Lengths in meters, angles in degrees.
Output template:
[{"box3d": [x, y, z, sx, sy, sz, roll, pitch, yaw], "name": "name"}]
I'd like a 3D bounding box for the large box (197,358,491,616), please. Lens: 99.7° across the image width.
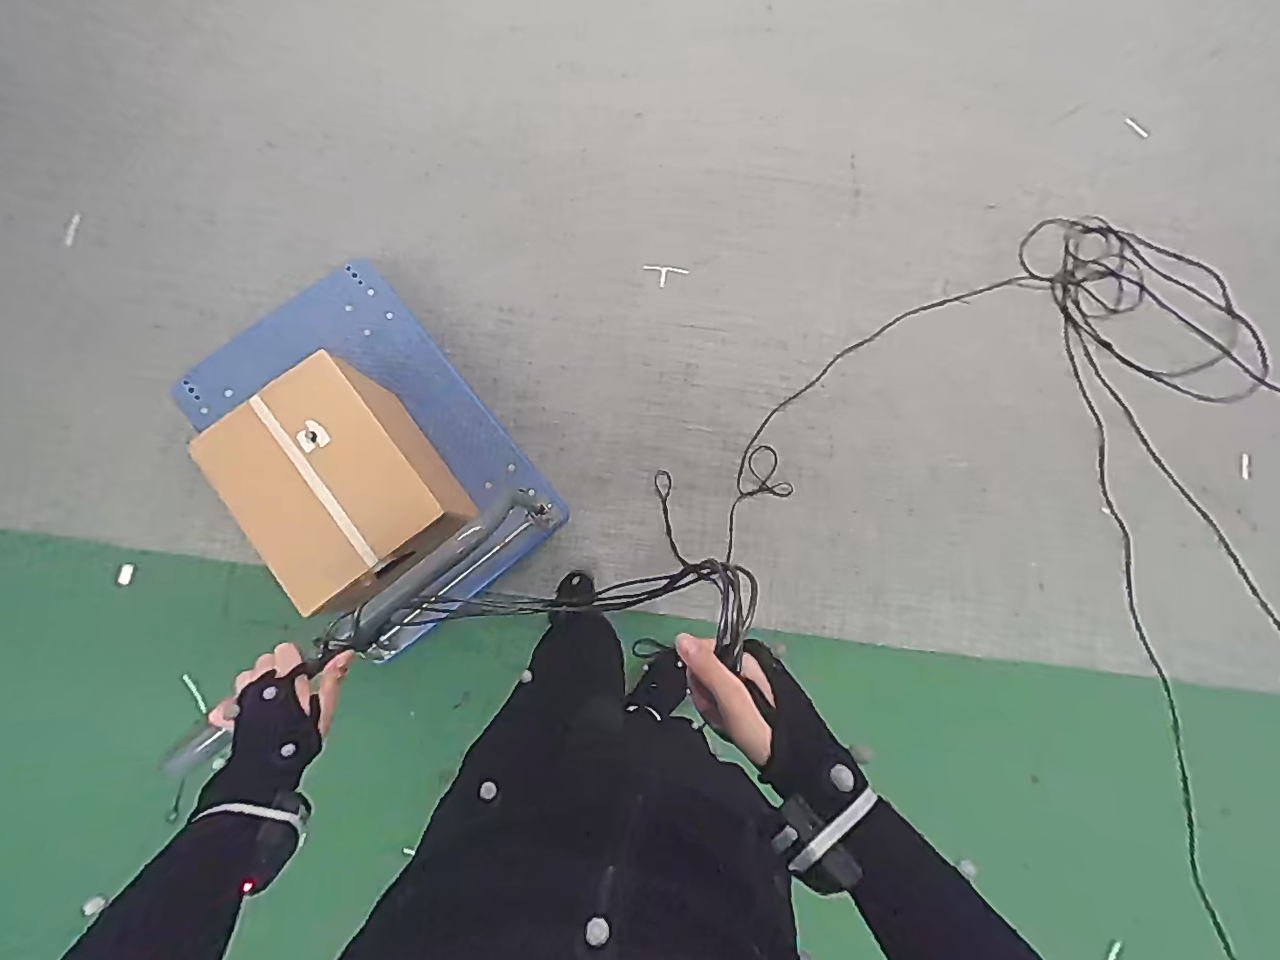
[{"box3d": [-0.593, 0.026, 1.158, 0.320, 0.320, 0.408, -39, 84, -6], "name": "large box"}]
